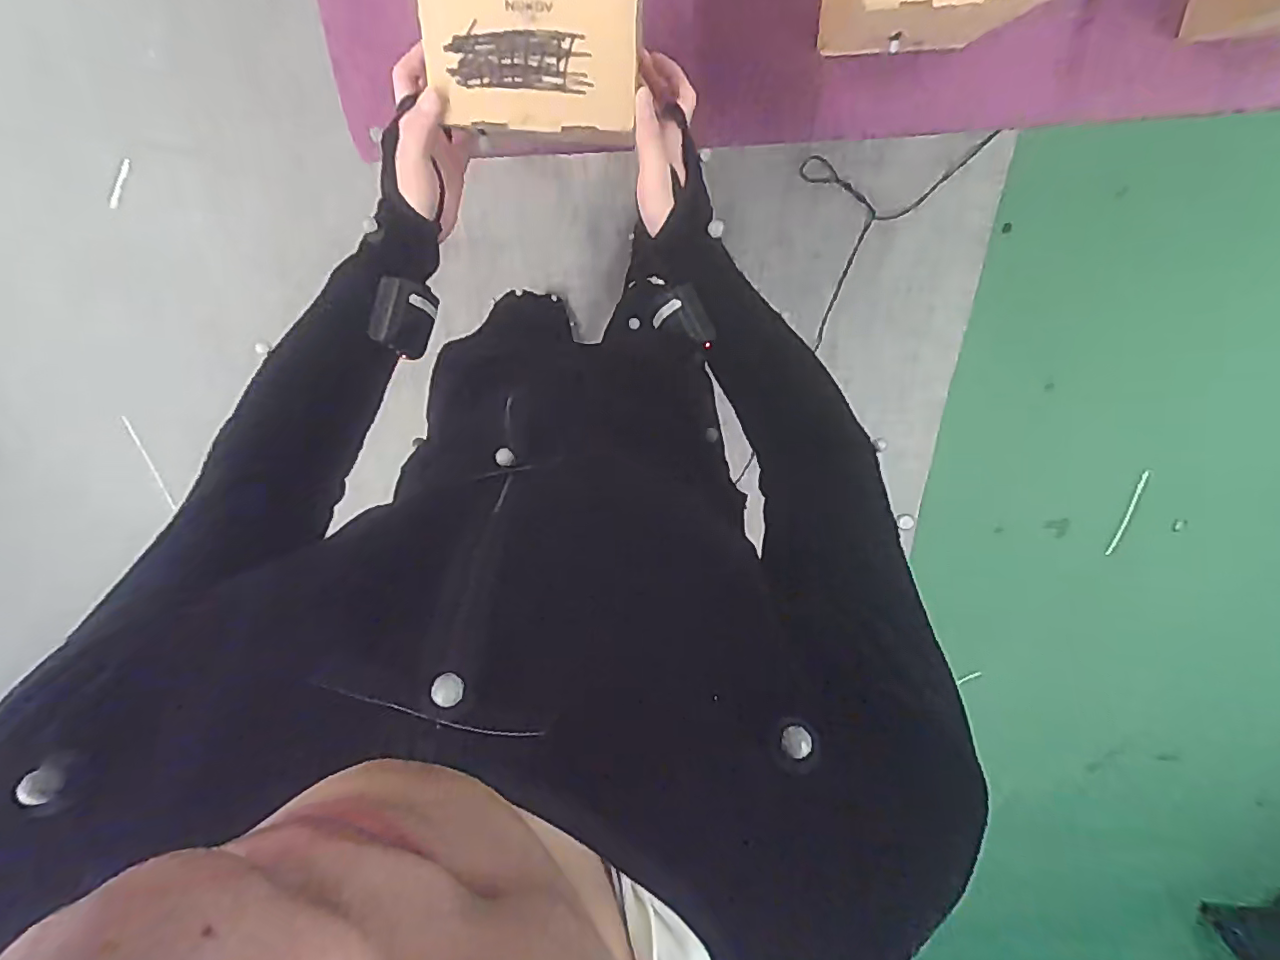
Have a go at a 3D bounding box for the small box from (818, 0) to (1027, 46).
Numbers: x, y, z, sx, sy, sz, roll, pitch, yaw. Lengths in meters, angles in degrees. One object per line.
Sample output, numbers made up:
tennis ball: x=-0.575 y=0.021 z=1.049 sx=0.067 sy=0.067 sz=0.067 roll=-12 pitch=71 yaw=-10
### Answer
small box: x=0.273 y=-0.535 z=0.500 sx=0.168 sy=0.176 sz=0.179 roll=-2 pitch=119 yaw=3

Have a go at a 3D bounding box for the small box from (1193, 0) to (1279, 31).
small box: x=0.665 y=-0.532 z=0.476 sx=0.168 sy=0.176 sz=0.179 roll=-1 pitch=119 yaw=5
